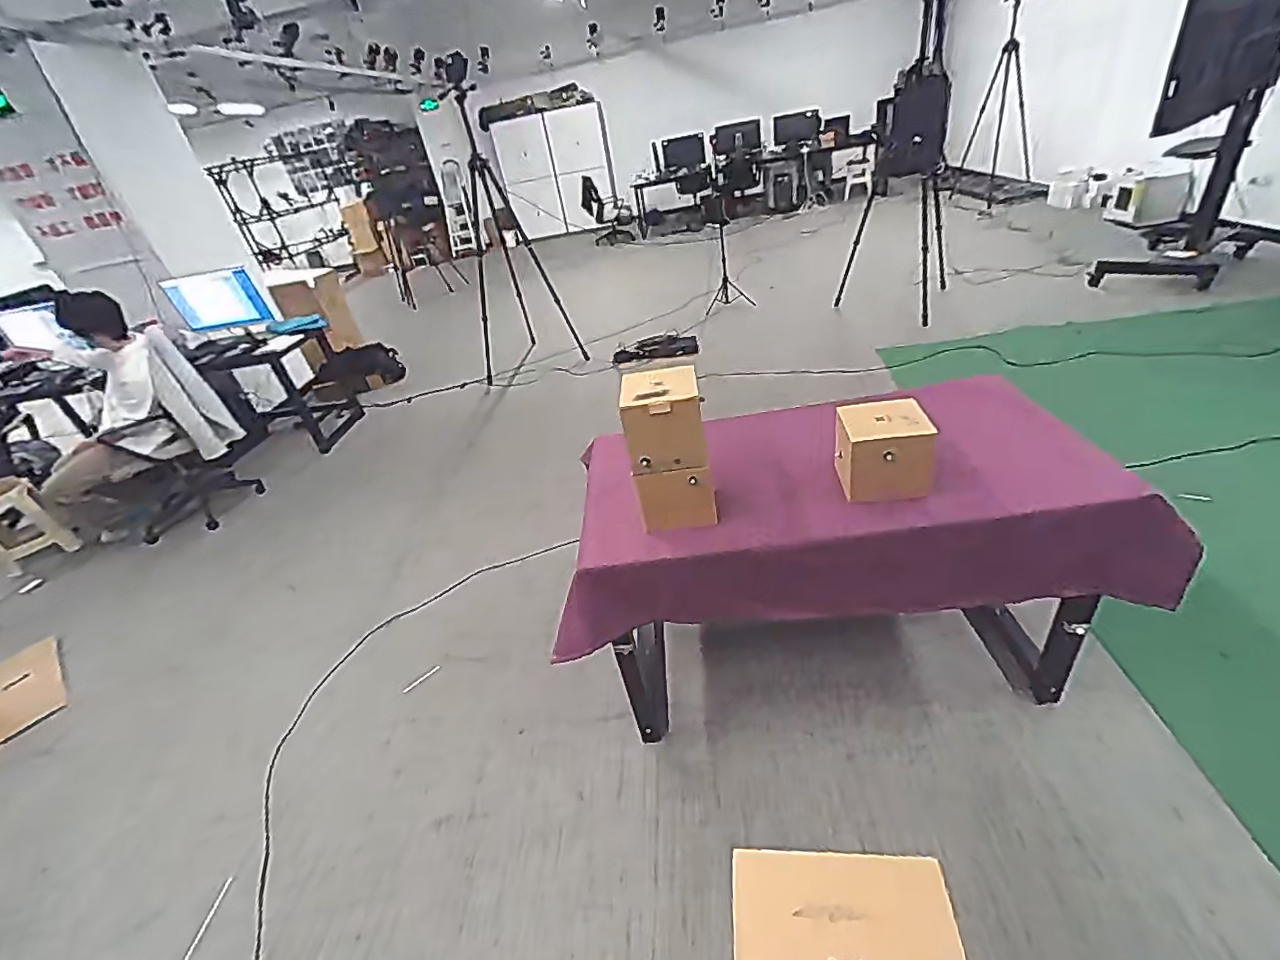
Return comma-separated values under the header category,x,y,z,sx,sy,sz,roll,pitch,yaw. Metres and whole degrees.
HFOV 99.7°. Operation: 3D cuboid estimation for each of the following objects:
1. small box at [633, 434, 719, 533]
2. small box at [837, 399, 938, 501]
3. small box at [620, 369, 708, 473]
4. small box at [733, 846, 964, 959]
category,x,y,z,sx,sy,sz,roll,pitch,yaw
small box,0.089,0.011,1.292,0.179,0.176,0.168,-8,33,7
small box,0.557,-0.064,1.235,0.179,0.176,0.168,-6,34,11
small box,0.057,-0.126,1.207,0.168,0.176,0.179,-8,32,7
small box,0.166,0.425,0.425,0.168,0.176,0.179,-6,32,13
